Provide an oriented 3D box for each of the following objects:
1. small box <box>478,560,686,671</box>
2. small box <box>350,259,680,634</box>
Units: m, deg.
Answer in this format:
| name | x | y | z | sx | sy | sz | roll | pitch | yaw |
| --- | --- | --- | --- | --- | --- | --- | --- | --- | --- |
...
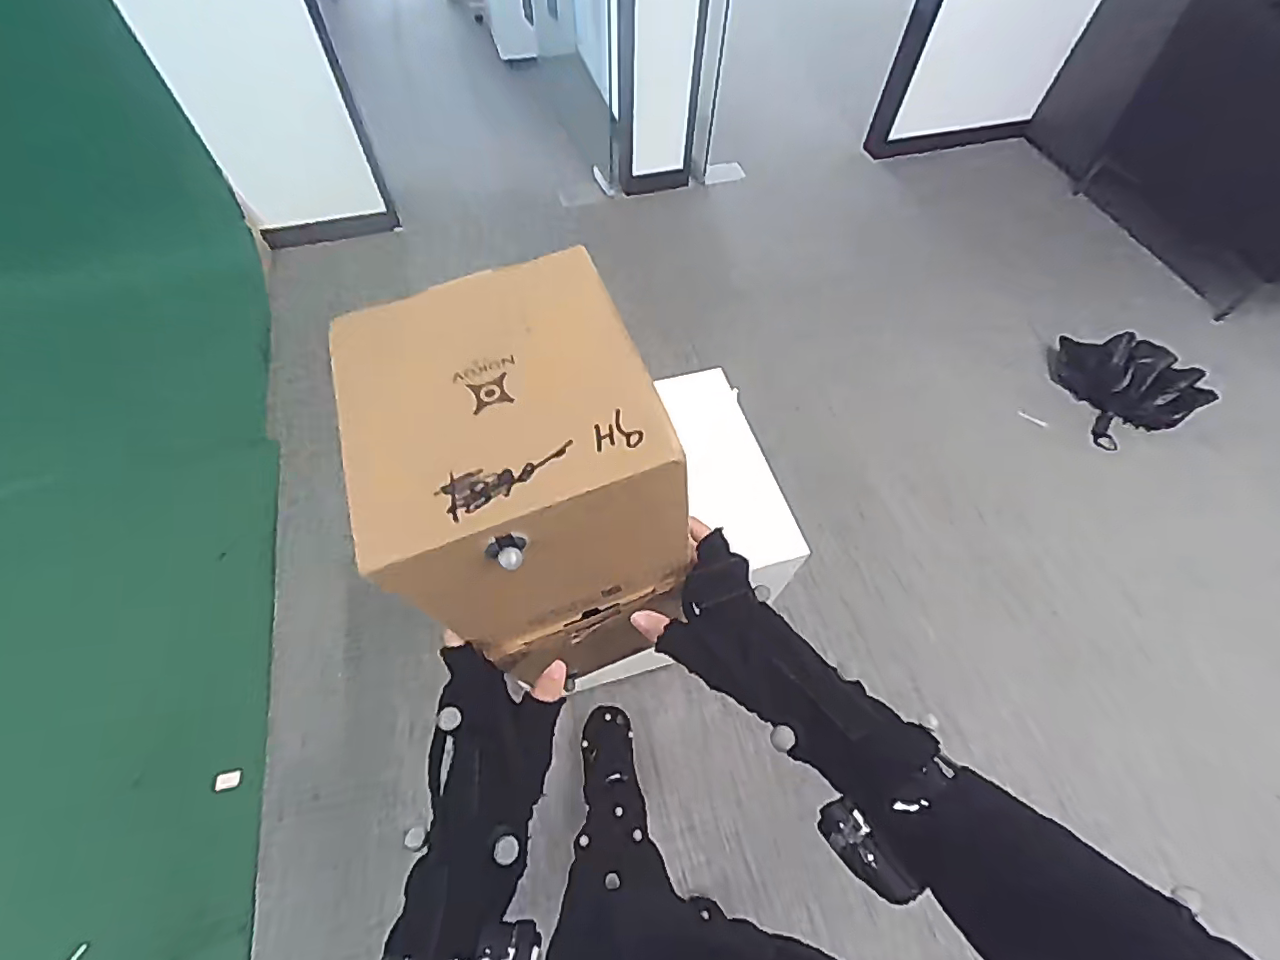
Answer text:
| name | x | y | z | sx | sy | sz | roll | pitch | yaw |
| --- | --- | --- | --- | --- | --- | --- | --- | --- | --- |
| small box | -0.061 | 0.070 | 0.523 | 0.168 | 0.176 | 0.179 | -21 | 60 | -5 |
| small box | -0.078 | -0.015 | 0.385 | 0.168 | 0.176 | 0.179 | -20 | 60 | -5 |
